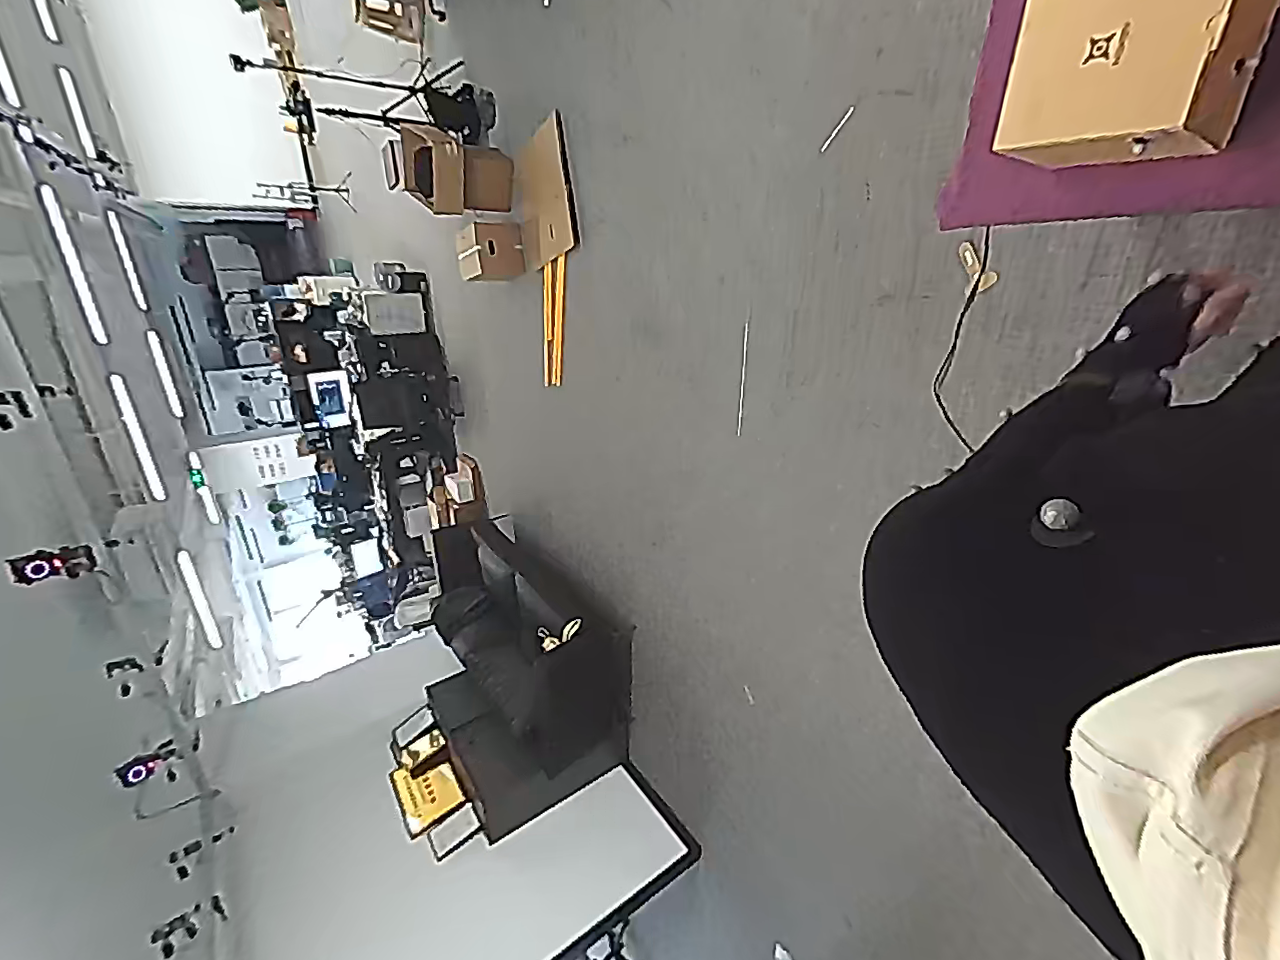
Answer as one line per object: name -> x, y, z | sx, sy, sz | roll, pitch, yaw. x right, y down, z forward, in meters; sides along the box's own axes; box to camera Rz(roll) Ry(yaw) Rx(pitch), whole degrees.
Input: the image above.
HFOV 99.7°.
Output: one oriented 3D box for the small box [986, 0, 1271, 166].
small box -> 0.530, -0.457, 0.596 | 0.179, 0.176, 0.168 | 28, 124, 48
